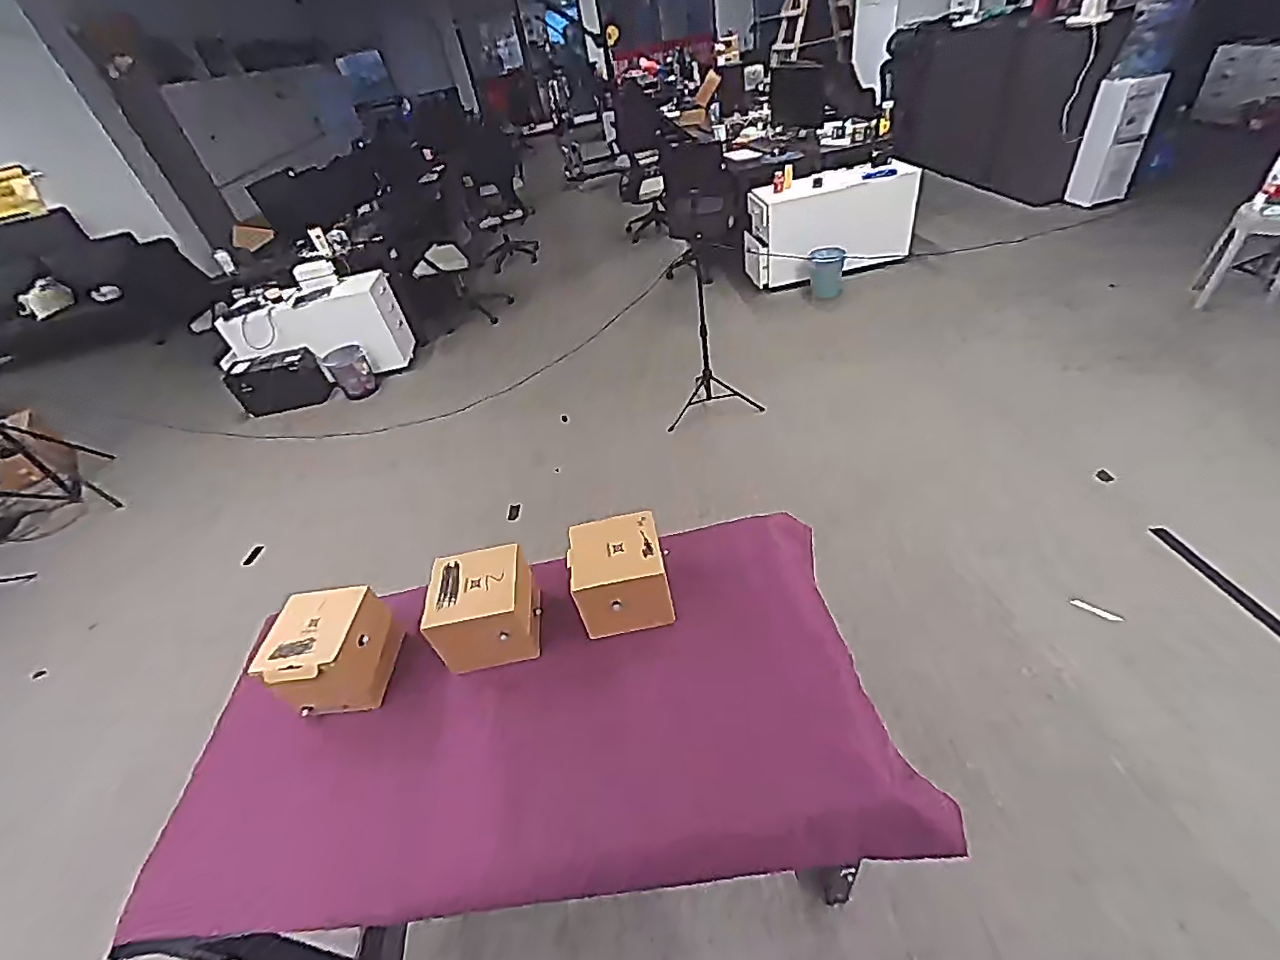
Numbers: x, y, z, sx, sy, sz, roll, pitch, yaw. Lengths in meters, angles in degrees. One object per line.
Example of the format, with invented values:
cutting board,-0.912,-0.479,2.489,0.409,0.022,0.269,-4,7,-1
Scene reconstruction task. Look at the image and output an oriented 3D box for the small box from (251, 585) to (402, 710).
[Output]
small box,-0.595,0.333,1.059,0.168,0.176,0.179,-7,41,5
